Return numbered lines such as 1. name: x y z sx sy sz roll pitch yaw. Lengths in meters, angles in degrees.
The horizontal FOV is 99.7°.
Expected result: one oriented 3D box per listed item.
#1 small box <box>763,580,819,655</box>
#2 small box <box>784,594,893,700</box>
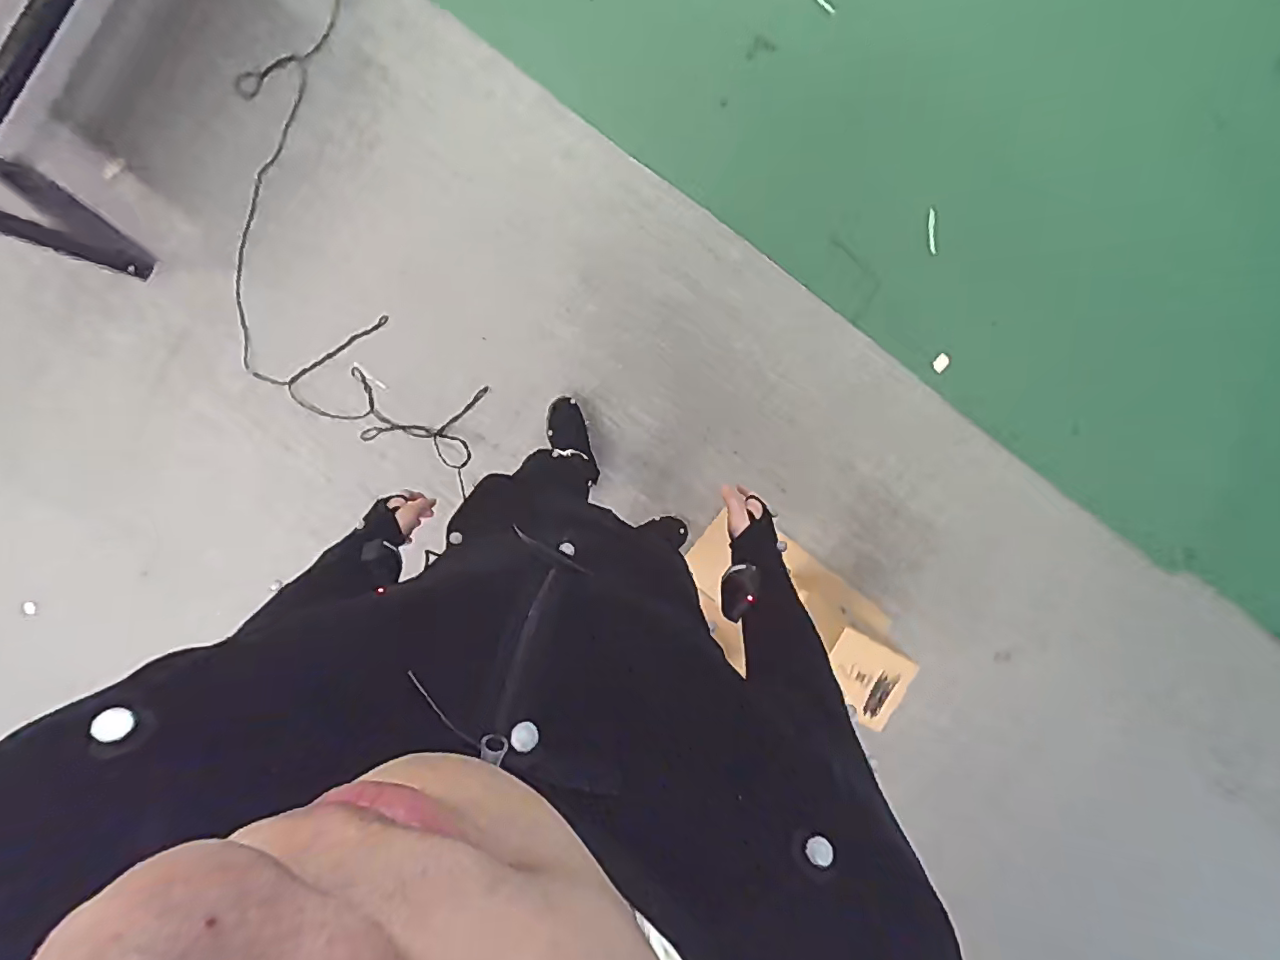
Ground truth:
1. small box: 0.471 0.404 1.524 0.179 0.176 0.168 31 94 1
2. small box: 0.486 0.407 1.359 0.179 0.176 0.168 32 95 0
